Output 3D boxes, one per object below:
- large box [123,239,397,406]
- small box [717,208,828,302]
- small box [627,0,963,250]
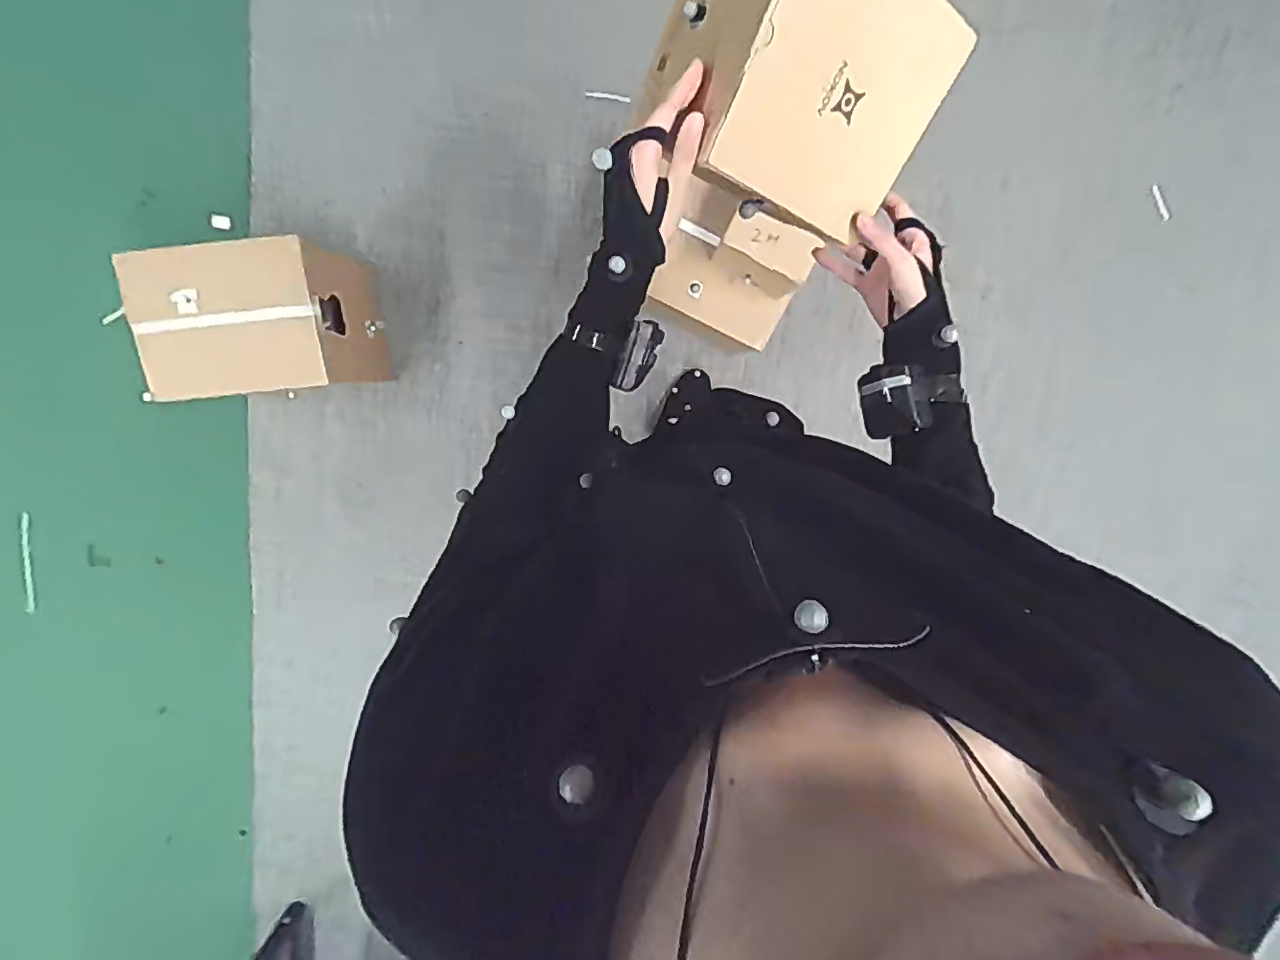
[{"bbox_3d":[-0.870,-0.360,1.298,0.408,0.320,0.320,-5,100,3],"label":"large box"},{"bbox_3d":[0.258,-0.461,1.018,0.168,0.176,0.179,27,99,-4],"label":"small box"},{"bbox_3d":[0.117,-0.328,0.463,0.179,0.176,0.168,10,120,-31],"label":"small box"}]
